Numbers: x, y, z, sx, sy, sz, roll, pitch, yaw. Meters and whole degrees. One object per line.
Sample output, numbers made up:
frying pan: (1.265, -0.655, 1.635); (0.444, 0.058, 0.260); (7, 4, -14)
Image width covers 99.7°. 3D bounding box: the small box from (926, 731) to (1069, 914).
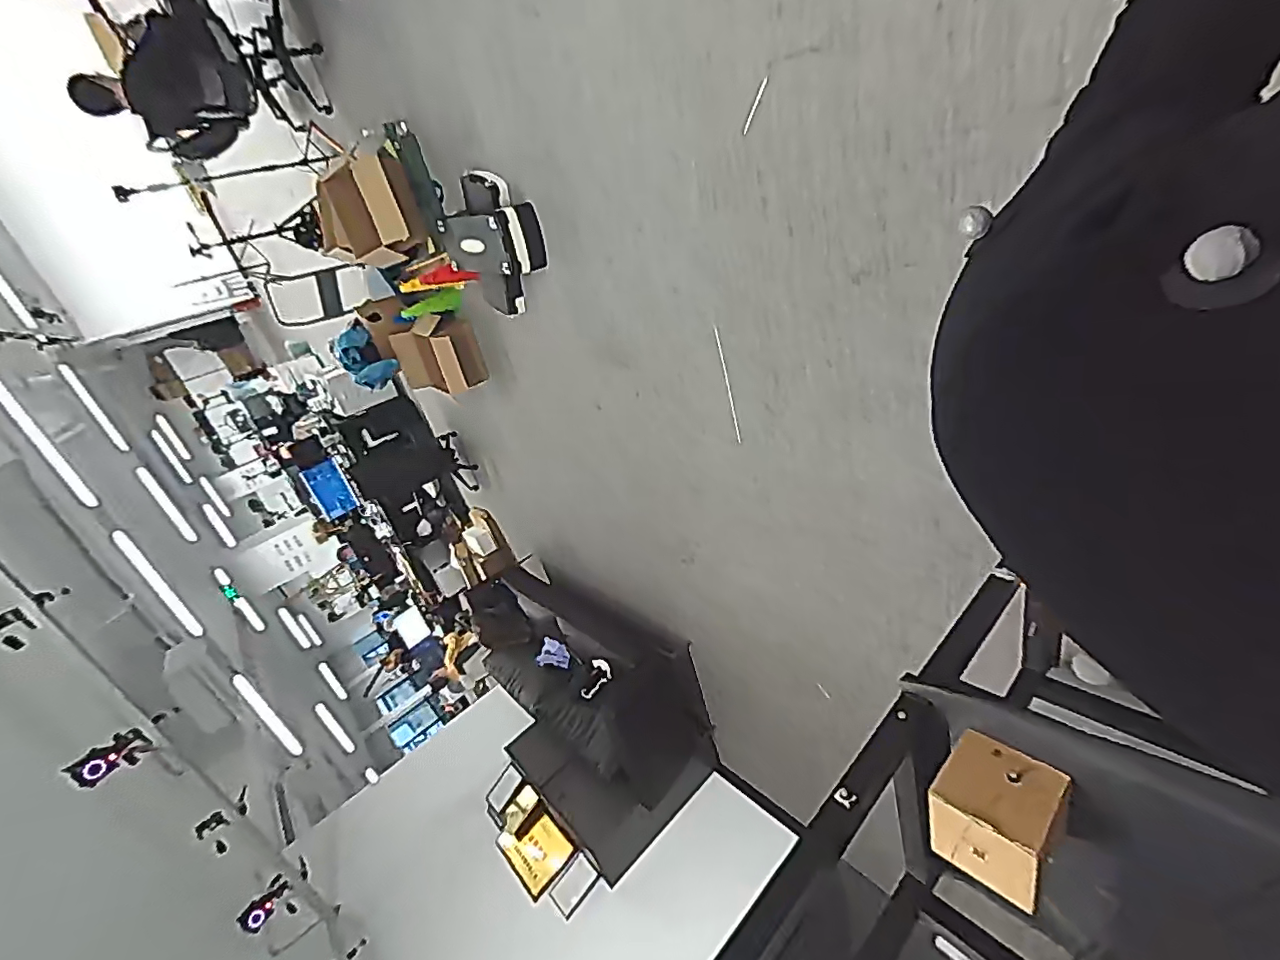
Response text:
small box: (0.634, 0.597, 0.961); (0.168, 0.176, 0.179); (15, 129, 49)
